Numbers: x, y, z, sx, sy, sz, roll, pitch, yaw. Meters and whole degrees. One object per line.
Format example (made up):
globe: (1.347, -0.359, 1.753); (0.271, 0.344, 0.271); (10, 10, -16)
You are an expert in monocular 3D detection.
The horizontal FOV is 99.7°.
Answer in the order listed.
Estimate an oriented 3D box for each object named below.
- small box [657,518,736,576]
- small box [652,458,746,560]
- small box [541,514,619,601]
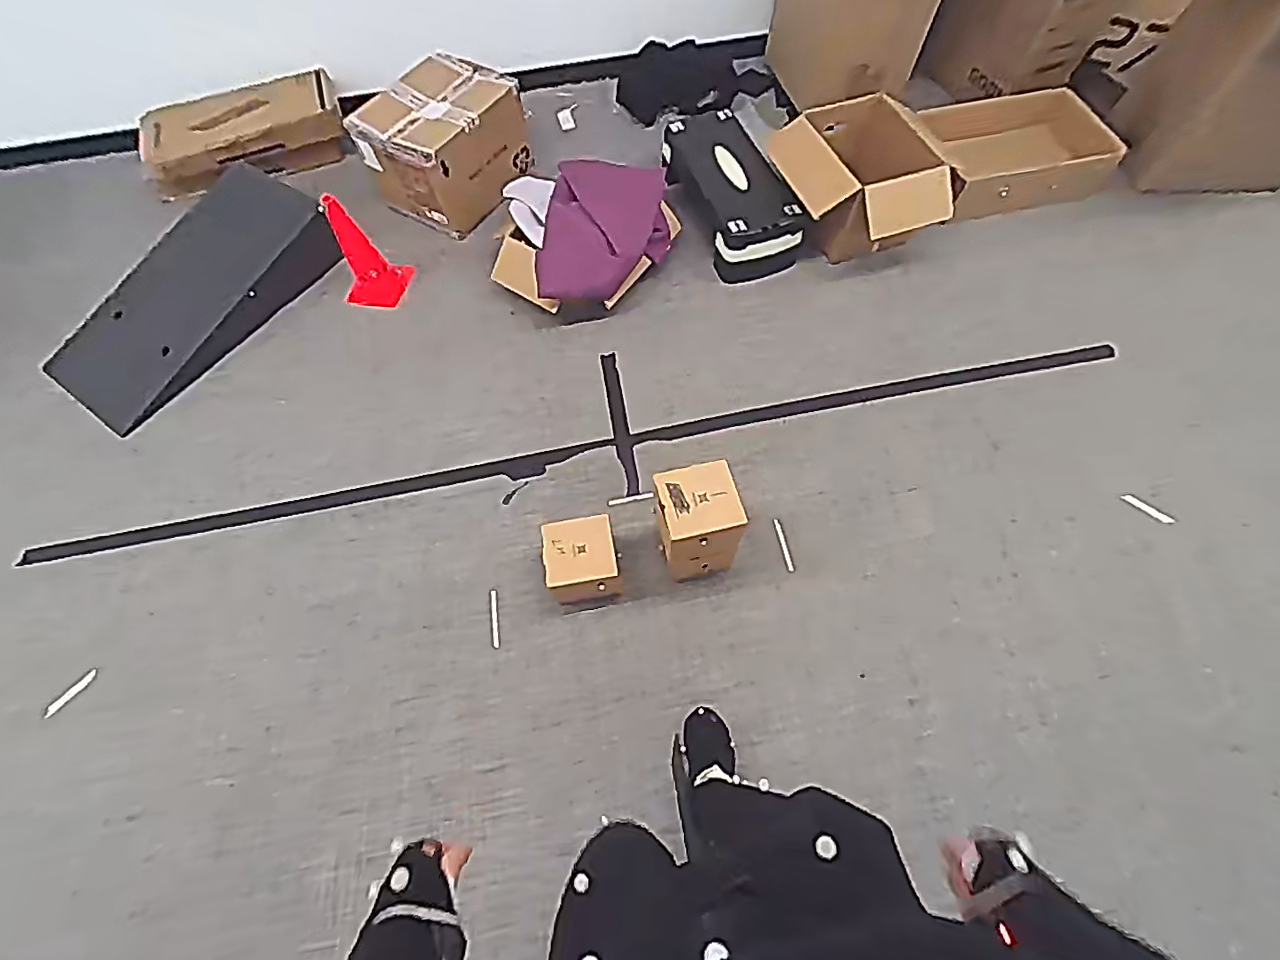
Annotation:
small box: (0.142, 0.141, 1.414); (0.168, 0.176, 0.179); (-13, 65, -4)
small box: (0.131, 0.074, 1.263); (0.179, 0.176, 0.168); (-12, 65, -5)
small box: (-0.149, 0.203, 1.391); (0.179, 0.176, 0.168); (-10, 64, -2)
